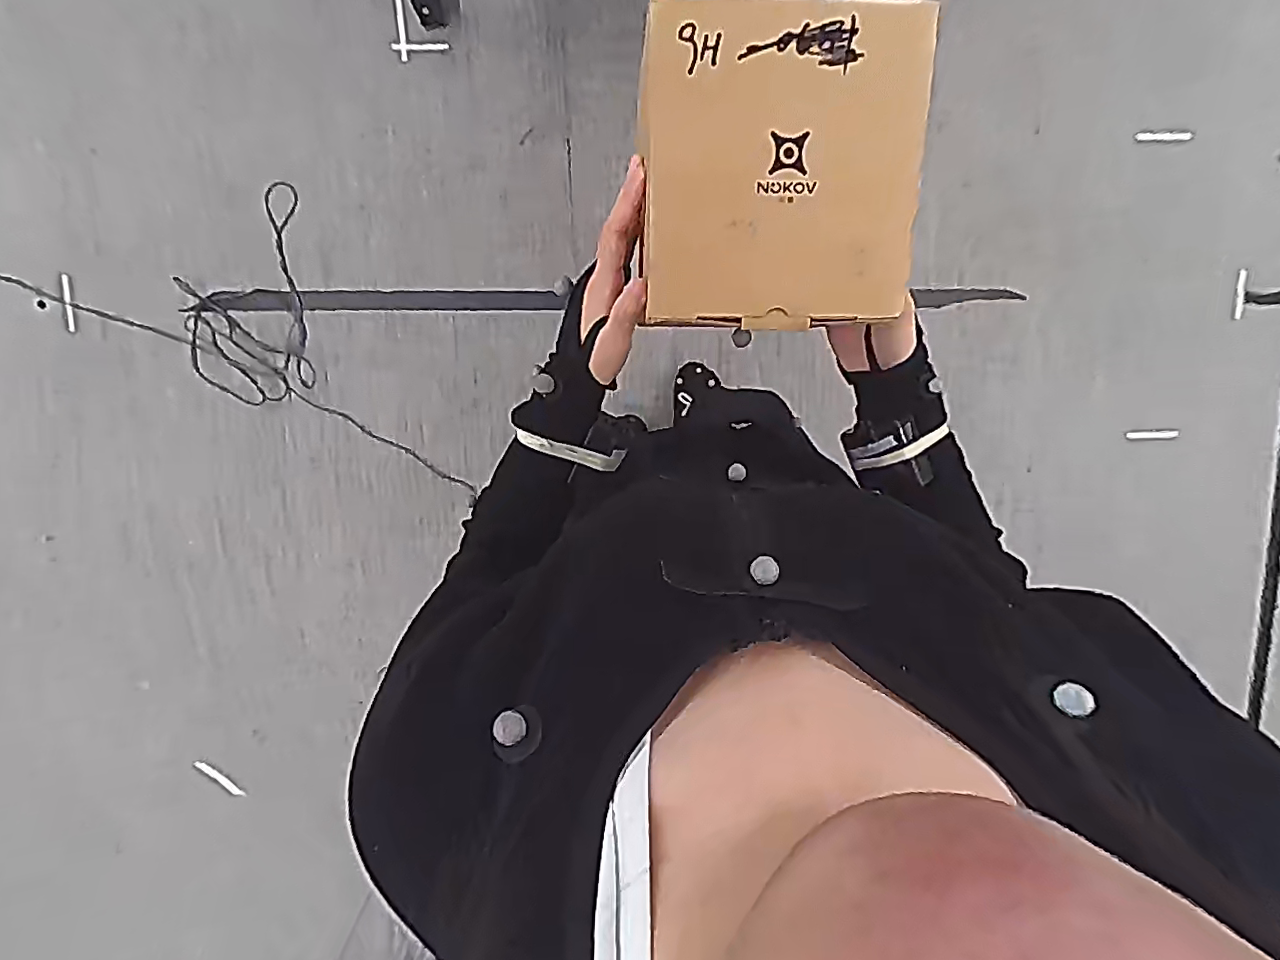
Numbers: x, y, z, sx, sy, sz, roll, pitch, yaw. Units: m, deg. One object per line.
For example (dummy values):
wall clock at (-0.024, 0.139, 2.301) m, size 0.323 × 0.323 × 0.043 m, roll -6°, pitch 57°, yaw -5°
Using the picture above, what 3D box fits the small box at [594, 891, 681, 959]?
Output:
small box at (-0.002, 0.957, 1.071) m, size 0.168 × 0.176 × 0.179 m, roll -6°, pitch 98°, yaw -2°

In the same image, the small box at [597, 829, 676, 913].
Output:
small box at (-0.007, 0.942, 1.232) m, size 0.168 × 0.176 × 0.179 m, roll -5°, pitch 97°, yaw -3°

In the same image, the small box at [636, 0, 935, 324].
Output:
small box at (0.084, -0.210, 0.406) m, size 0.168 × 0.176 × 0.179 m, roll -1°, pitch 105°, yaw -3°
